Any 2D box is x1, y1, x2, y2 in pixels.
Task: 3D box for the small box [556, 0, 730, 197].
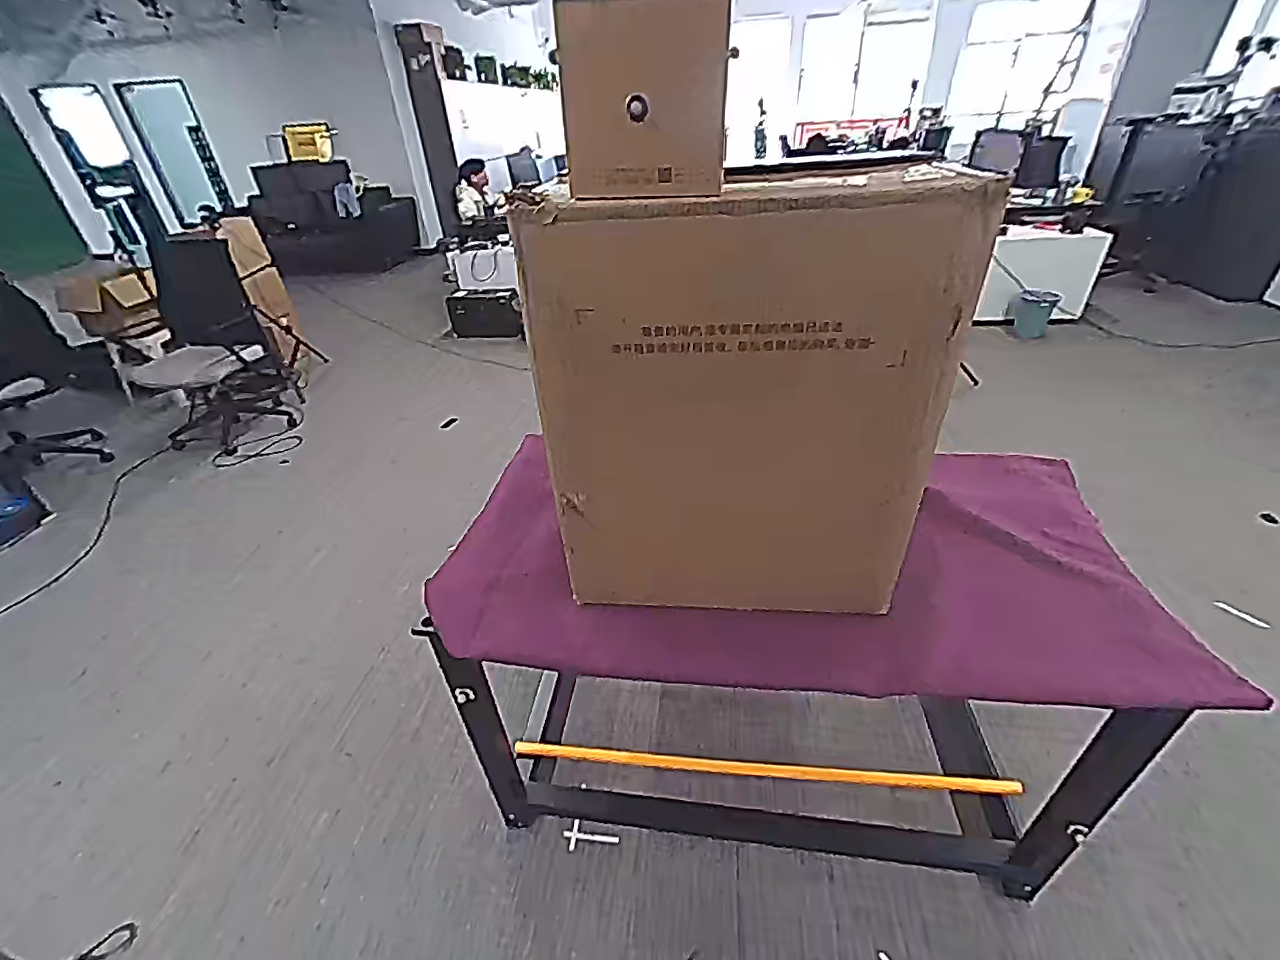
[{"bbox_3d":[0.013,-0.418,0.603,0.168,0.176,0.179,2,35,5],"label":"small box"}]
